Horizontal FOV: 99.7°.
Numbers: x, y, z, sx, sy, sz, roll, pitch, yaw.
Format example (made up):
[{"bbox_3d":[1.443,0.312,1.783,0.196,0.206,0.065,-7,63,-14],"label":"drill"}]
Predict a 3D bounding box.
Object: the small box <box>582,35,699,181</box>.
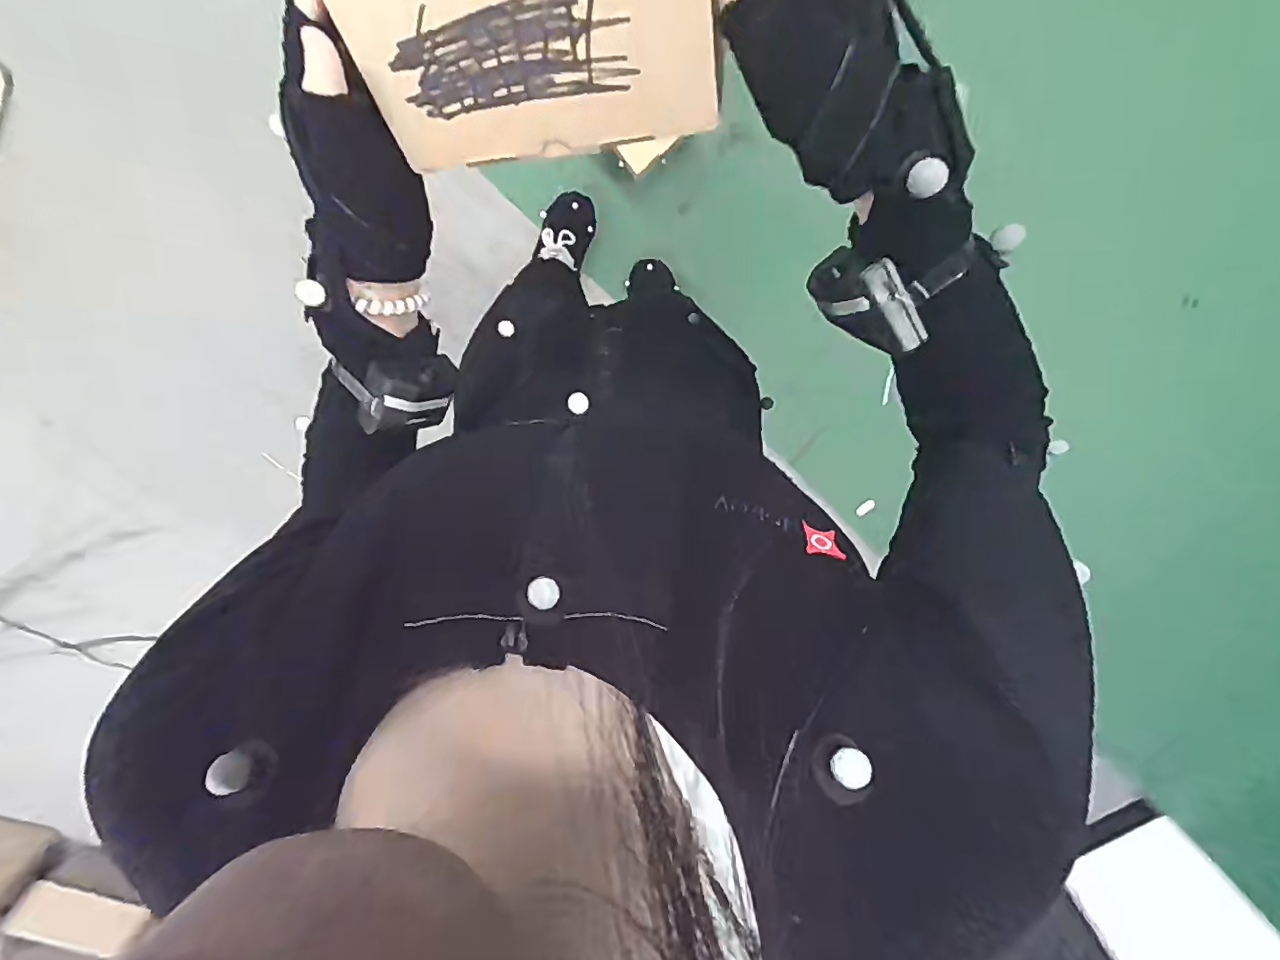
[{"bbox_3d":[-0.001,-0.759,1.130,0.168,0.176,0.179,-37,109,15],"label":"small box"}]
